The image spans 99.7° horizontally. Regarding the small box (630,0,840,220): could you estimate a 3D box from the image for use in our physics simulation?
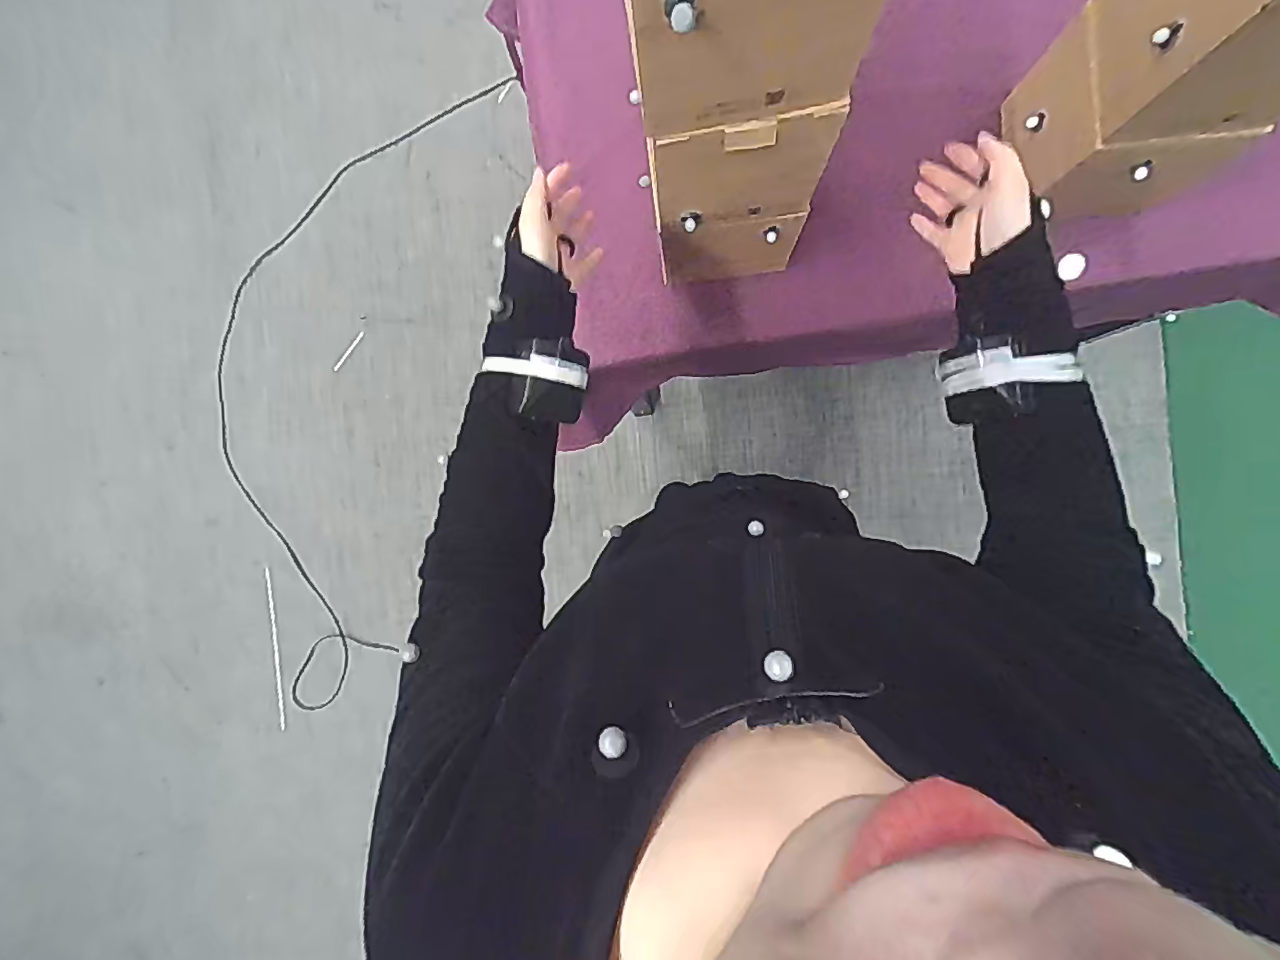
[{"bbox_3d":[0.084,-0.381,0.534,0.168,0.176,0.179,-7,87,5],"label":"small box"}]

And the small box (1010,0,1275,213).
[{"bbox_3d":[0.574,-0.440,0.646,0.179,0.176,0.168,-2,90,6],"label":"small box"}]

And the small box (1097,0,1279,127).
[{"bbox_3d":[0.556,-0.450,0.484,0.168,0.176,0.179,-2,89,6],"label":"small box"}]

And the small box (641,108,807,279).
[{"bbox_3d":[0.103,-0.376,0.698,0.179,0.176,0.168,-7,89,5],"label":"small box"}]
